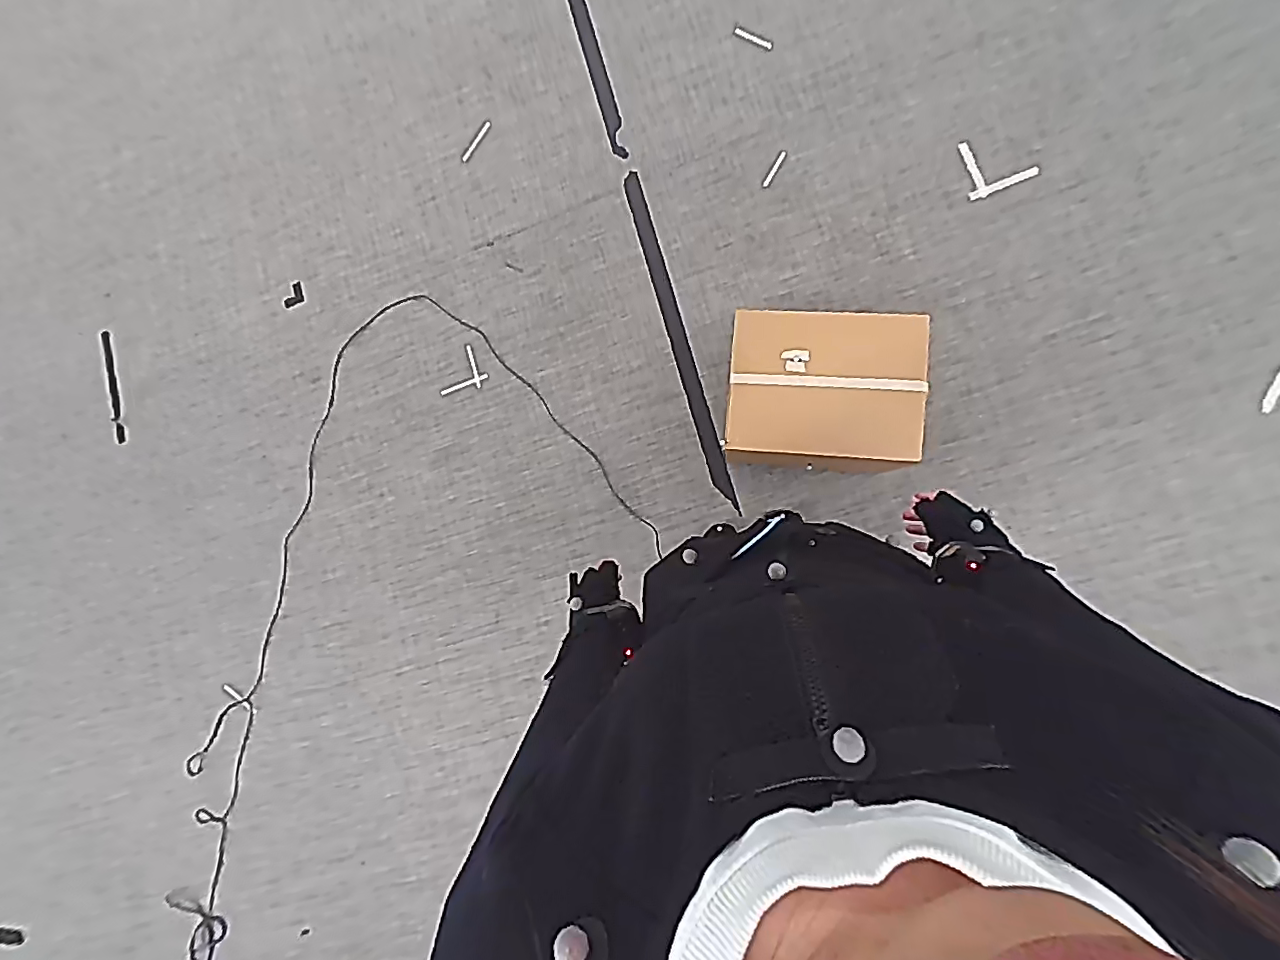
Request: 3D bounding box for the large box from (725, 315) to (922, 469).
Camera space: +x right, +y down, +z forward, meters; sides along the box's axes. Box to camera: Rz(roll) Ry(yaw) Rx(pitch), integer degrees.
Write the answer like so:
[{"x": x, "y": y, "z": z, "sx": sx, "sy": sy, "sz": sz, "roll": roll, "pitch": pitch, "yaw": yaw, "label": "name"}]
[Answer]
[{"x": 0.423, "y": -0.199, "z": 1.318, "sx": 0.408, "sy": 0.320, "sz": 0.320, "roll": 4, "pitch": 86, "yaw": 11, "label": "large box"}]
